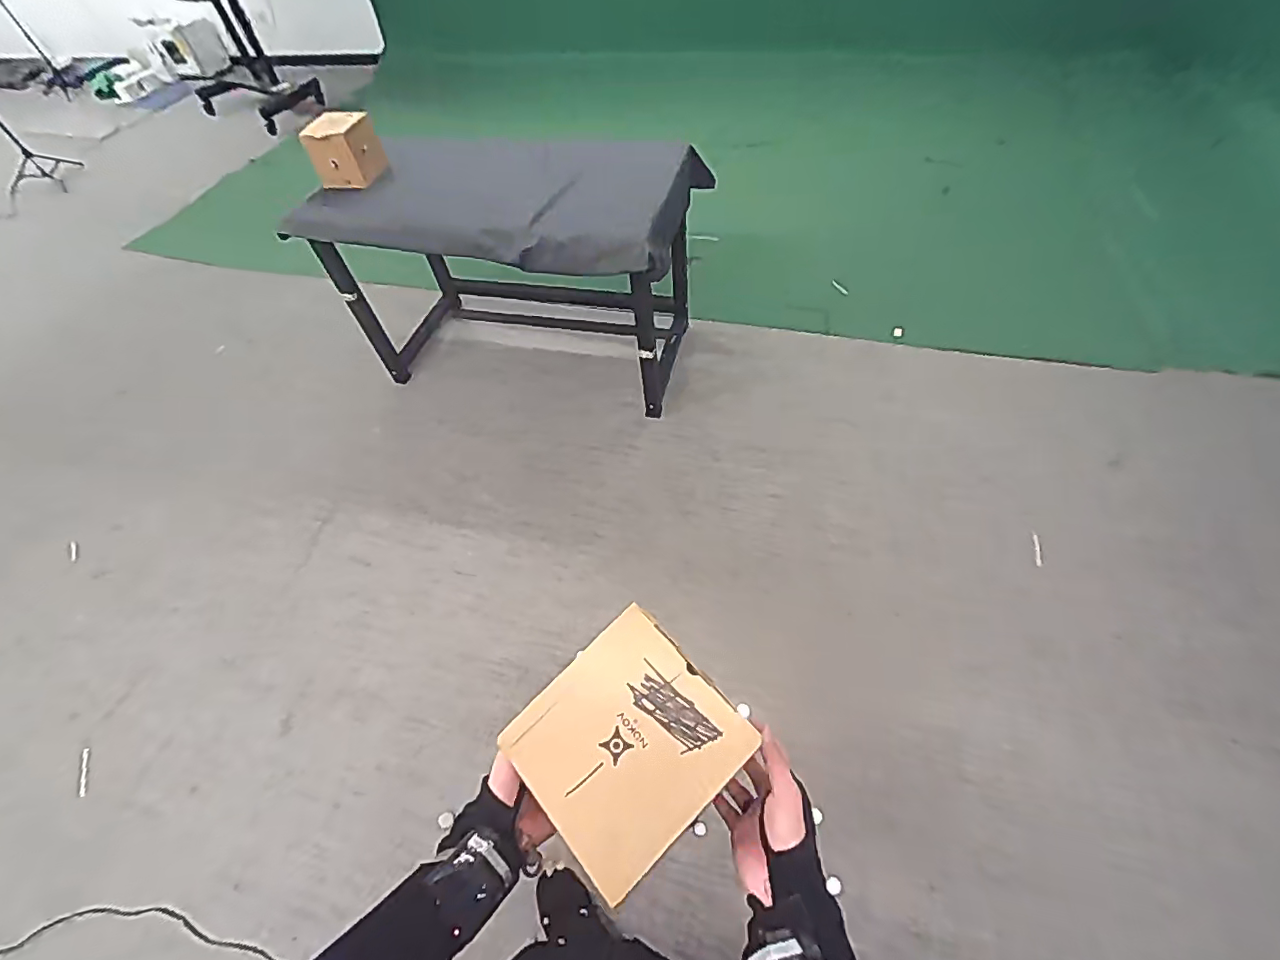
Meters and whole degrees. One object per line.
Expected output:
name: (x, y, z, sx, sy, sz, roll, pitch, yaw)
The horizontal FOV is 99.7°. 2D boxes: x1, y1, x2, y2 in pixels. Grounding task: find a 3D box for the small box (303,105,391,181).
small box: (-0.978, -1.134, 1.823, 0.168, 0.176, 0.179, 6, 56, 10)
